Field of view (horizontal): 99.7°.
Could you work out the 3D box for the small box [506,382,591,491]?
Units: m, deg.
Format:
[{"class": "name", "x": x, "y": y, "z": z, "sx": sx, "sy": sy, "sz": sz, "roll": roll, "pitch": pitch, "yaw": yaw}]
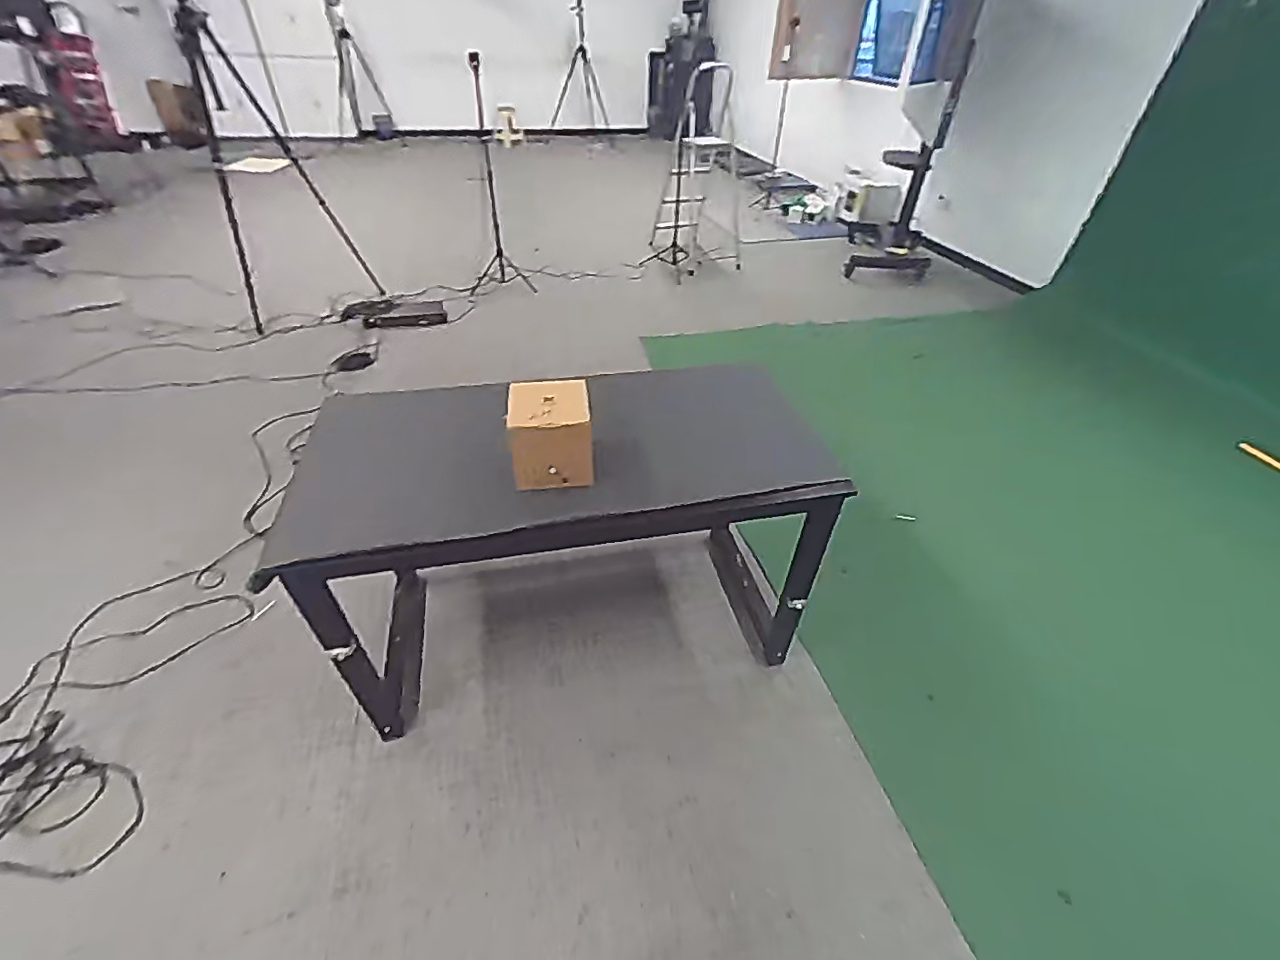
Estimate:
[{"class": "small box", "x": -0.195, "y": -0.097, "z": 1.180, "sx": 0.168, "sy": 0.176, "sz": 0.179, "roll": -4, "pitch": 40, "yaw": -7}]
